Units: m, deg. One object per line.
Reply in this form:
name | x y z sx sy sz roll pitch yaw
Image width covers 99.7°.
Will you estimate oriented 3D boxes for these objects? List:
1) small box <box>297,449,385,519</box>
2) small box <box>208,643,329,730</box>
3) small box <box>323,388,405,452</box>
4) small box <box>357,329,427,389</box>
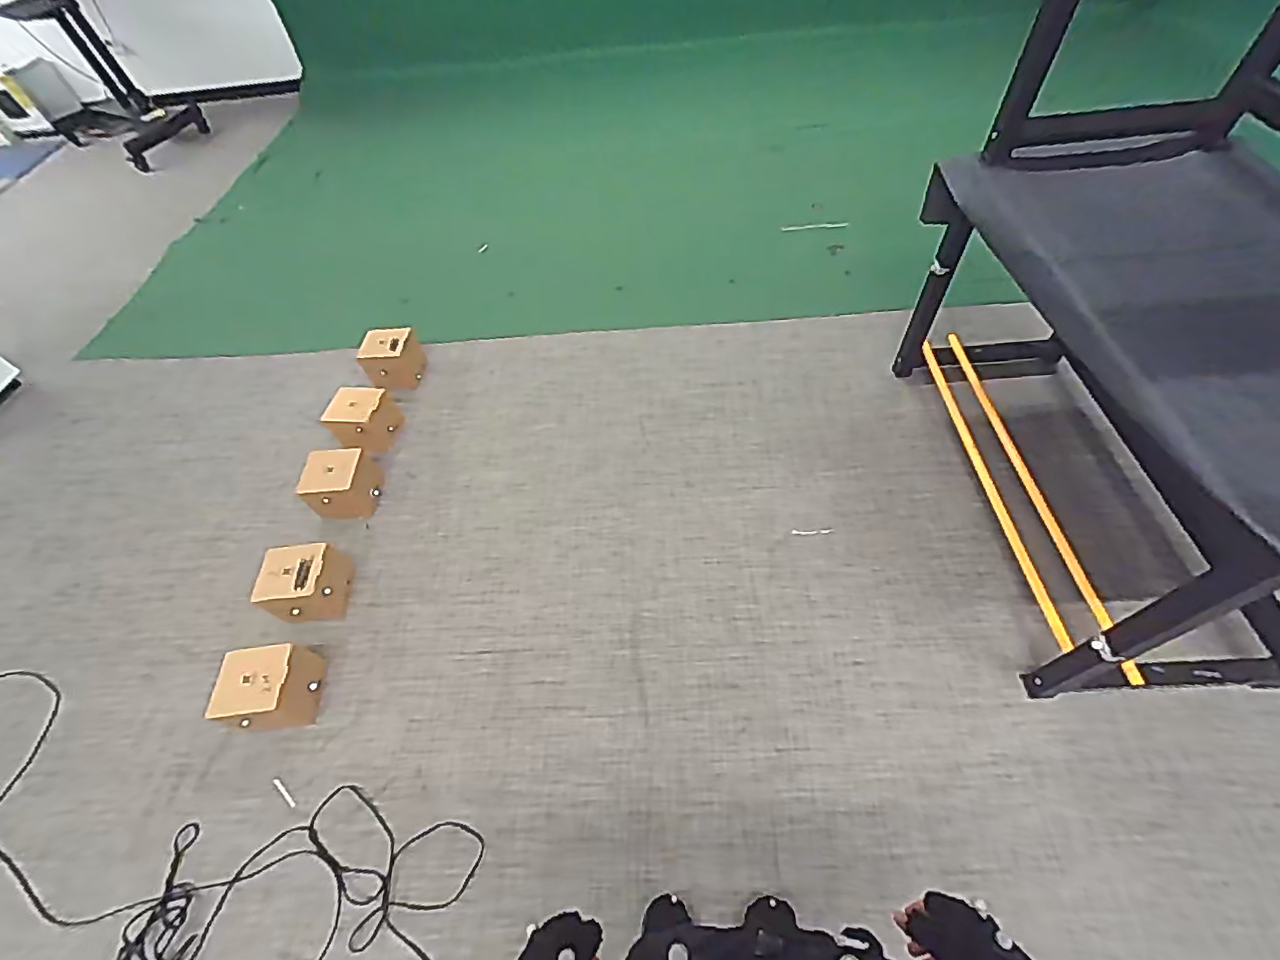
small box | -0.977 0.017 1.784 0.179 0.176 0.168 -4 56 0
small box | -0.954 0.541 1.406 0.179 0.176 0.168 -8 55 0
small box | -0.990 -0.214 1.952 0.179 0.176 0.168 3 55 7
small box | -0.971 -0.474 2.136 0.179 0.176 0.168 -2 54 5
